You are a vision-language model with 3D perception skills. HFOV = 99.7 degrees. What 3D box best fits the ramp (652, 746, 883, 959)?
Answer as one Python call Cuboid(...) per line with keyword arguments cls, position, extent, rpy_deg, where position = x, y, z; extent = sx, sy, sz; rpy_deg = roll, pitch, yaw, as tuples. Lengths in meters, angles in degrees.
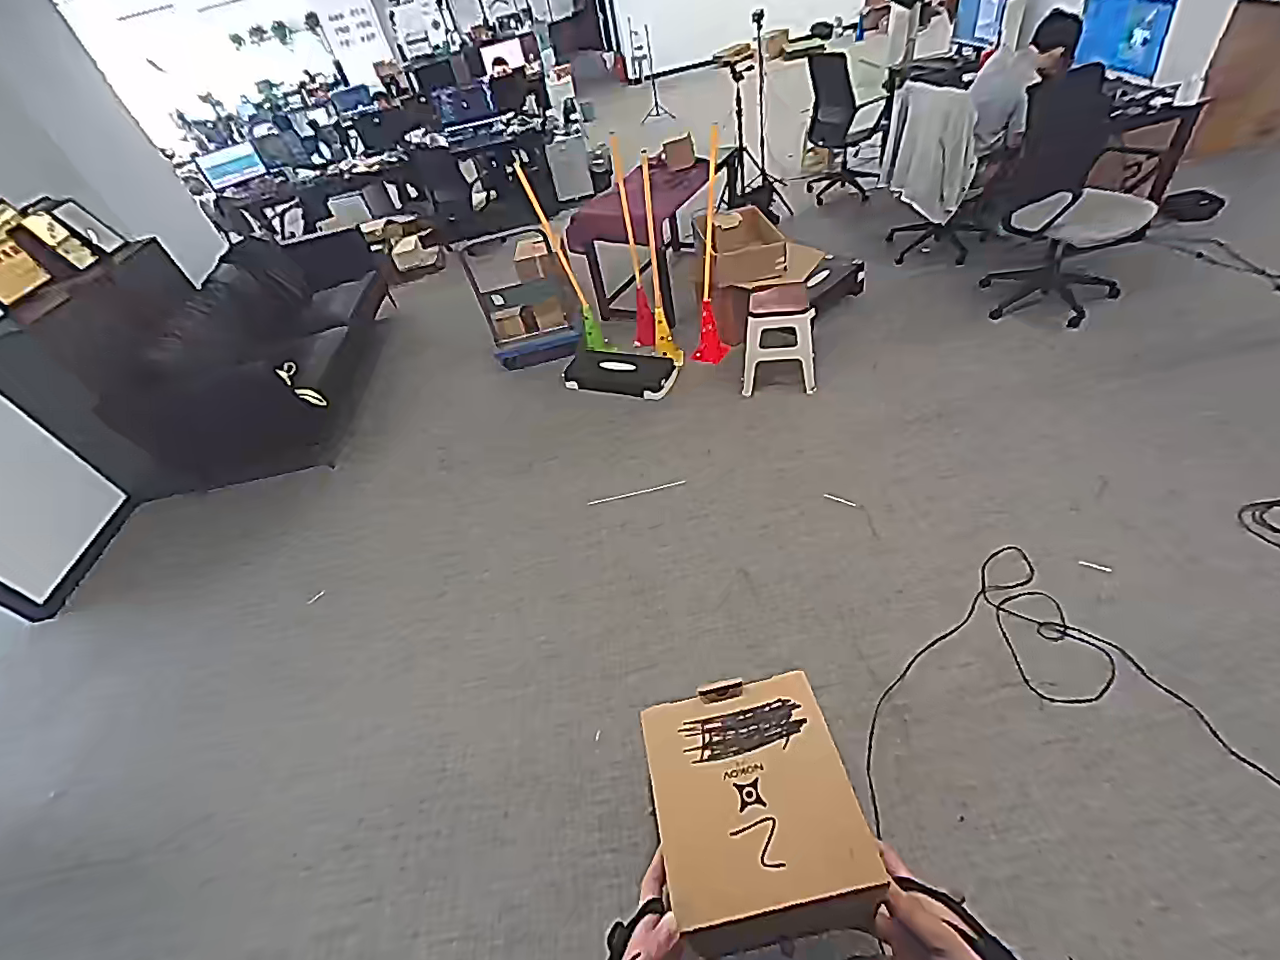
Cuboid(cls="ramp", position=(0.316, 1.144, 1.260), extent=(0.509, 0.206, 0.991), rpy_deg=(-15, 43, 2))
